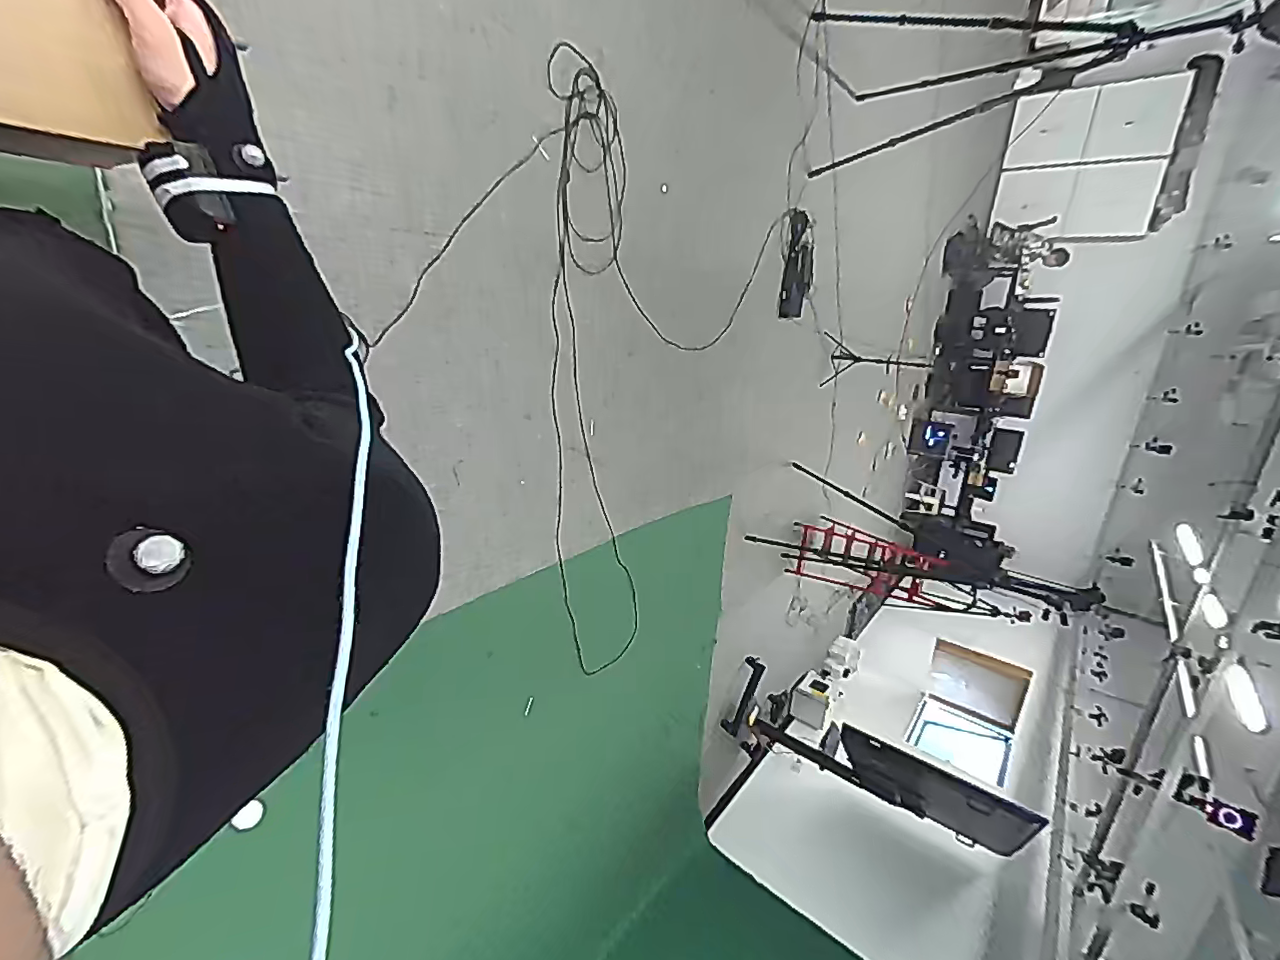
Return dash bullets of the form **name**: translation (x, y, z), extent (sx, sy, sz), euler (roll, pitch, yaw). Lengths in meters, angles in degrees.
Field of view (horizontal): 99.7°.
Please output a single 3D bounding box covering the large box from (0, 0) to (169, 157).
- **large box**: translation (-0.610, -0.419, 0.327), extent (0.408, 0.320, 0.320), euler (-18, 122, -48)
